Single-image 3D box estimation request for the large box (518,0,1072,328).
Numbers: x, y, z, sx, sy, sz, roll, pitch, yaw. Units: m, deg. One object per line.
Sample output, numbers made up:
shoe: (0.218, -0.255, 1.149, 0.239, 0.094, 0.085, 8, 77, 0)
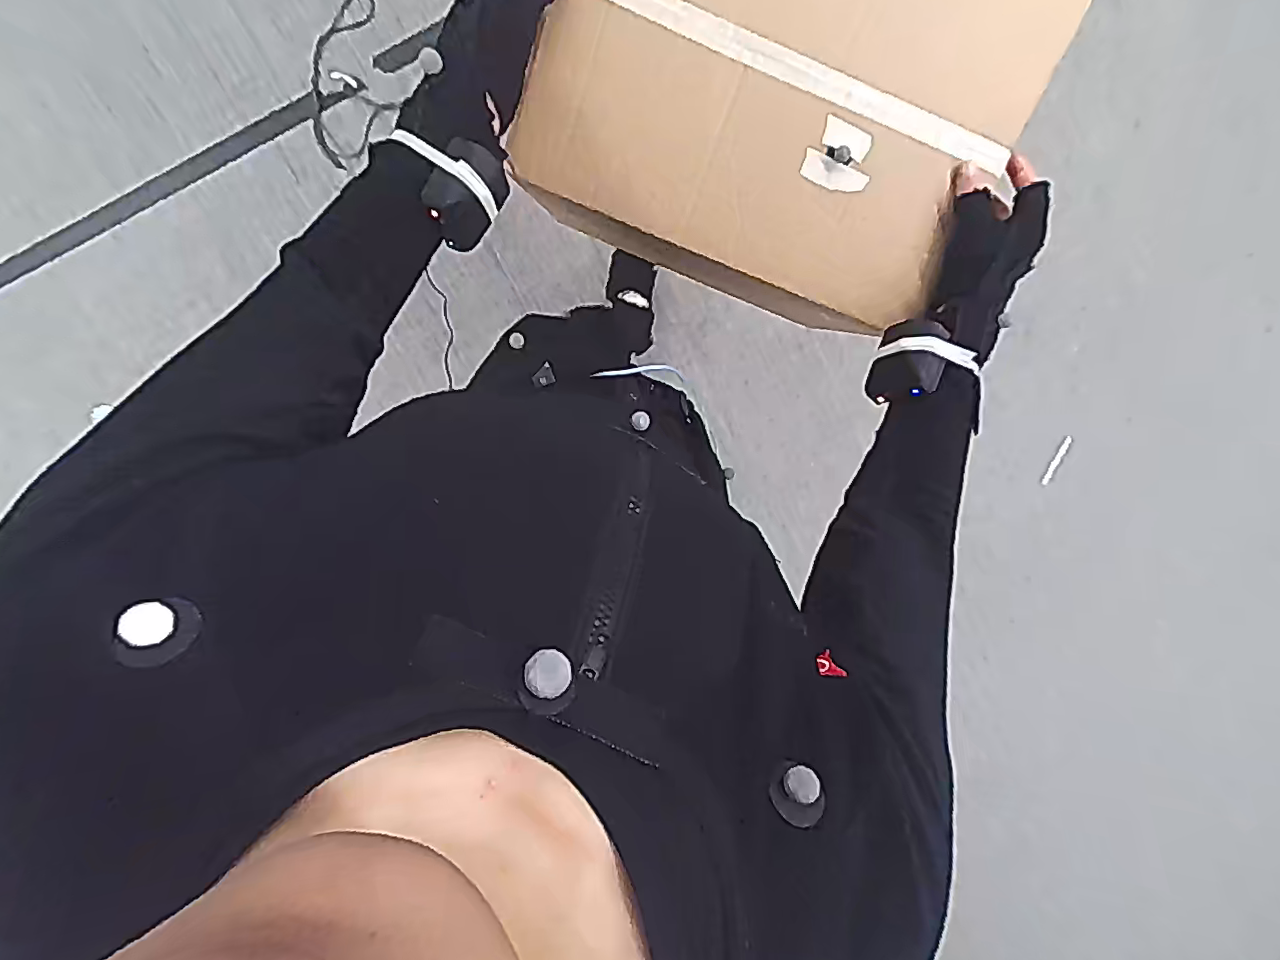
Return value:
large box: (0.123, -0.392, 0.602, 0.408, 0.320, 0.320, 20, 108, -7)
